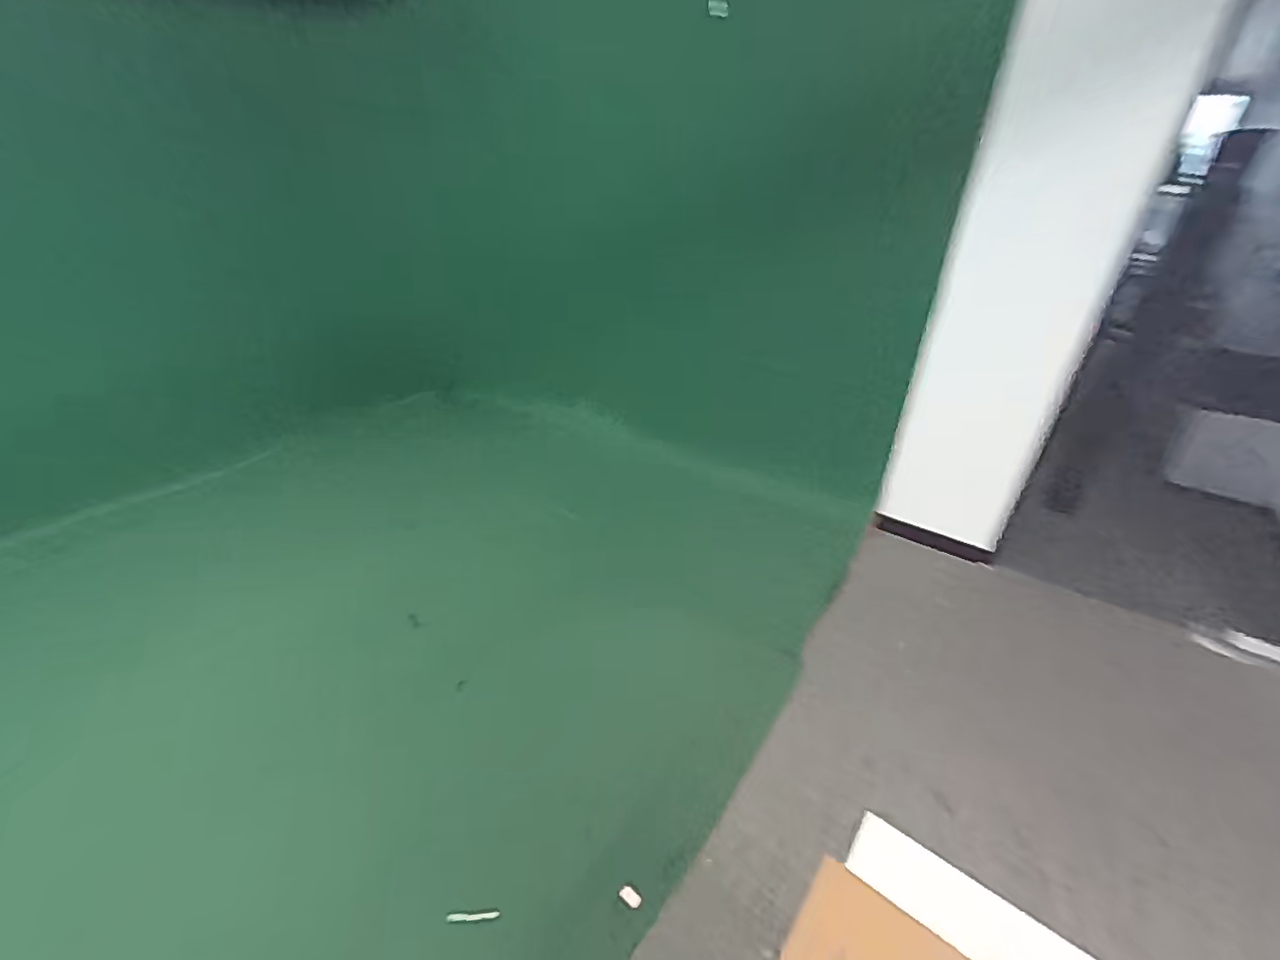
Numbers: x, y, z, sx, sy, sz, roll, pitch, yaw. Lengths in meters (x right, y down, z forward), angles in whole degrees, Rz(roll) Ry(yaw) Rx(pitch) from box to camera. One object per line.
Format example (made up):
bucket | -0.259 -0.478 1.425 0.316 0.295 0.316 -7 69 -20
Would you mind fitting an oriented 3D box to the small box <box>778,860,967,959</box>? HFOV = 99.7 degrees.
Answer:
small box | 0.210 0.523 0.509 0.179 0.176 0.168 24 38 32
